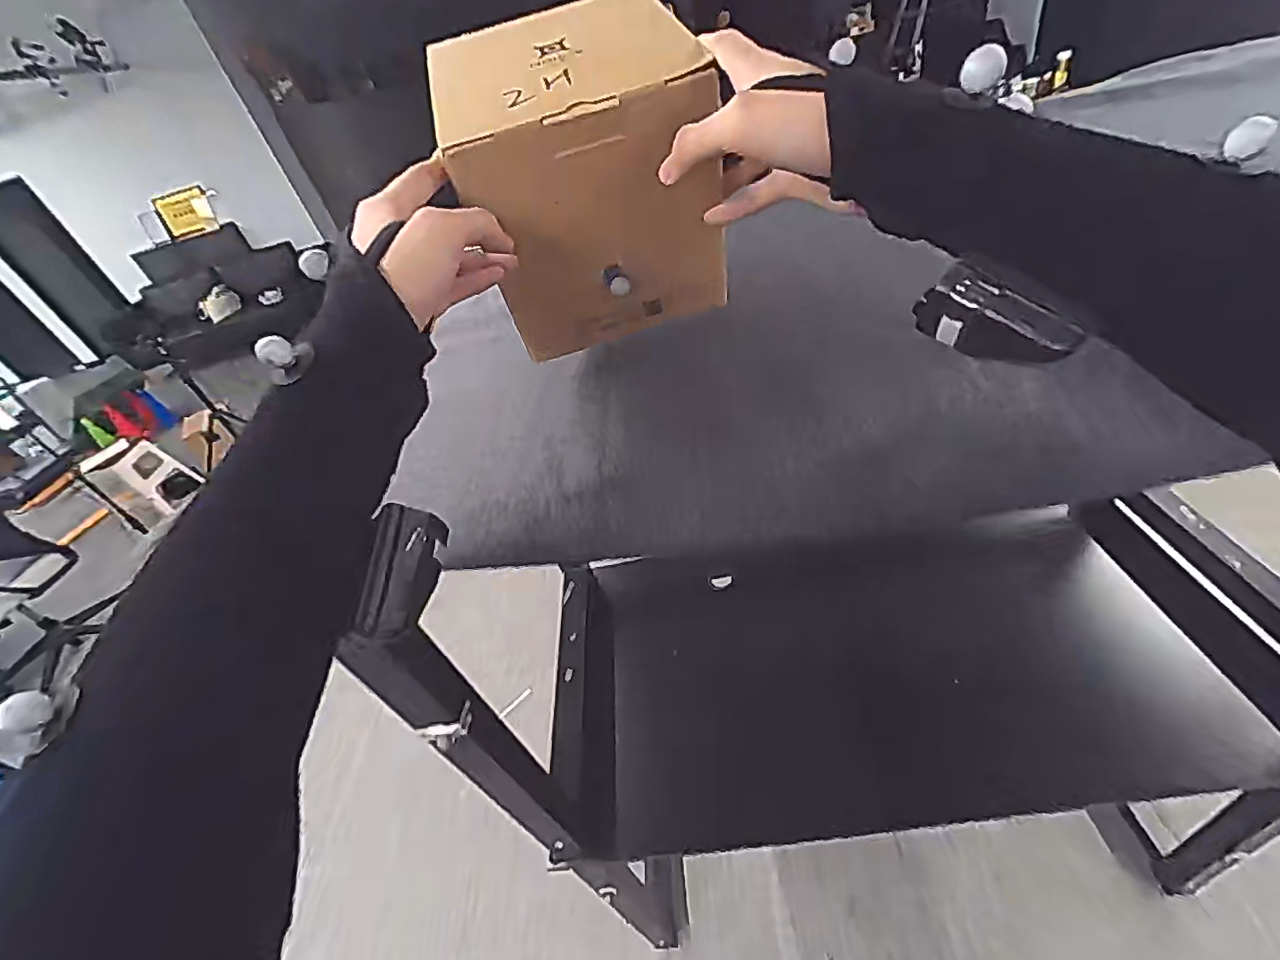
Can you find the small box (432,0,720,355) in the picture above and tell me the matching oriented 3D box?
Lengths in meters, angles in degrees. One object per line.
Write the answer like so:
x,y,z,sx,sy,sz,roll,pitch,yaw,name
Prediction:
-0.044,-0.231,0.421,0.168,0.176,0.179,-18,55,-1,small box
